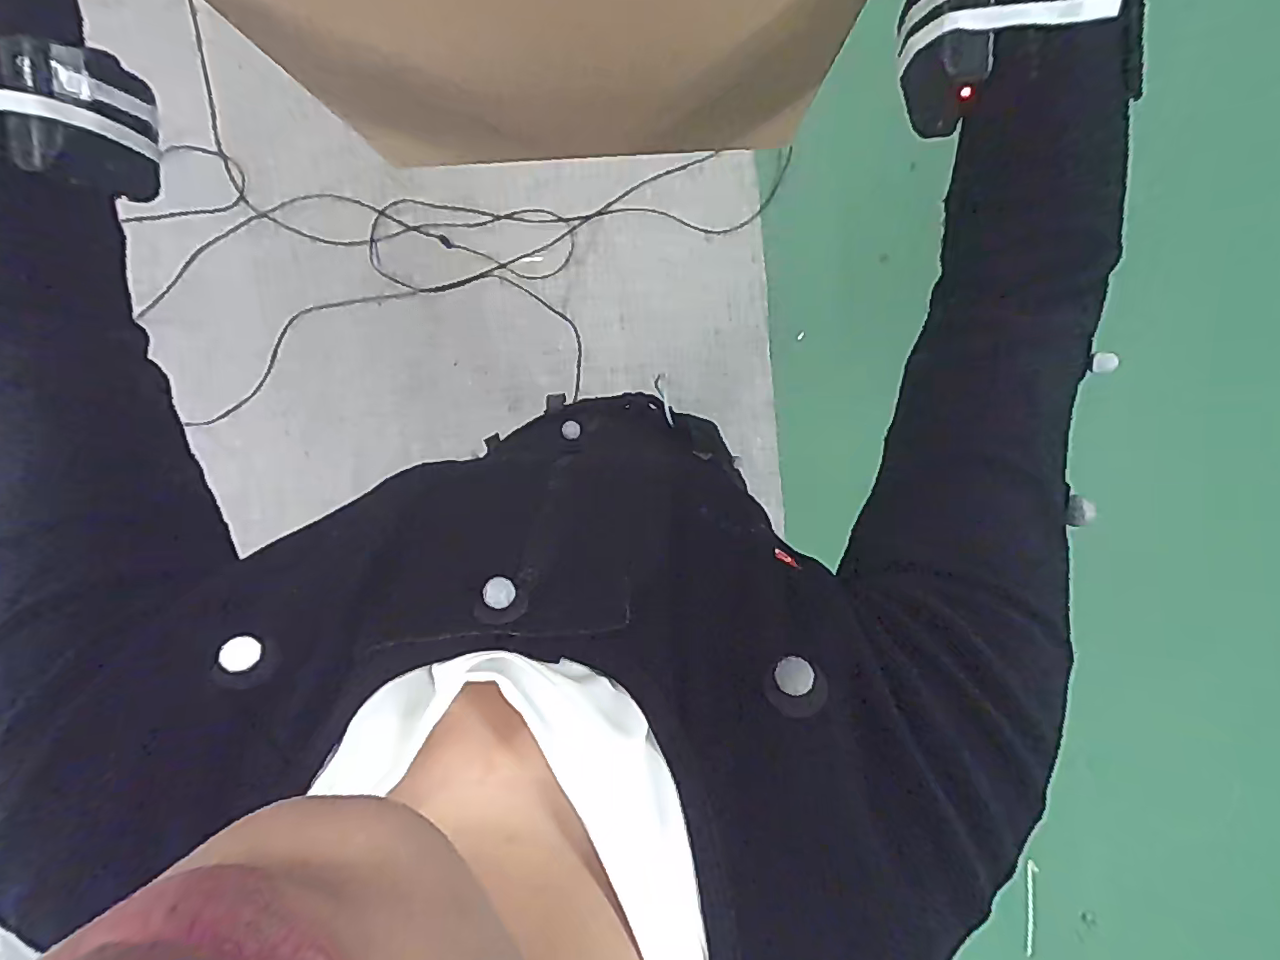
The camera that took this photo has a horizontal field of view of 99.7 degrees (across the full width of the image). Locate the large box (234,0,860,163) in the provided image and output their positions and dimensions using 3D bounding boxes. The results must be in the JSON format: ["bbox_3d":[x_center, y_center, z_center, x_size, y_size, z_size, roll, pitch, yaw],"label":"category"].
[{"bbox_3d":[-0.059,-0.456,0.374,0.408,0.320,0.320,-2,100,1],"label":"large box"}]
